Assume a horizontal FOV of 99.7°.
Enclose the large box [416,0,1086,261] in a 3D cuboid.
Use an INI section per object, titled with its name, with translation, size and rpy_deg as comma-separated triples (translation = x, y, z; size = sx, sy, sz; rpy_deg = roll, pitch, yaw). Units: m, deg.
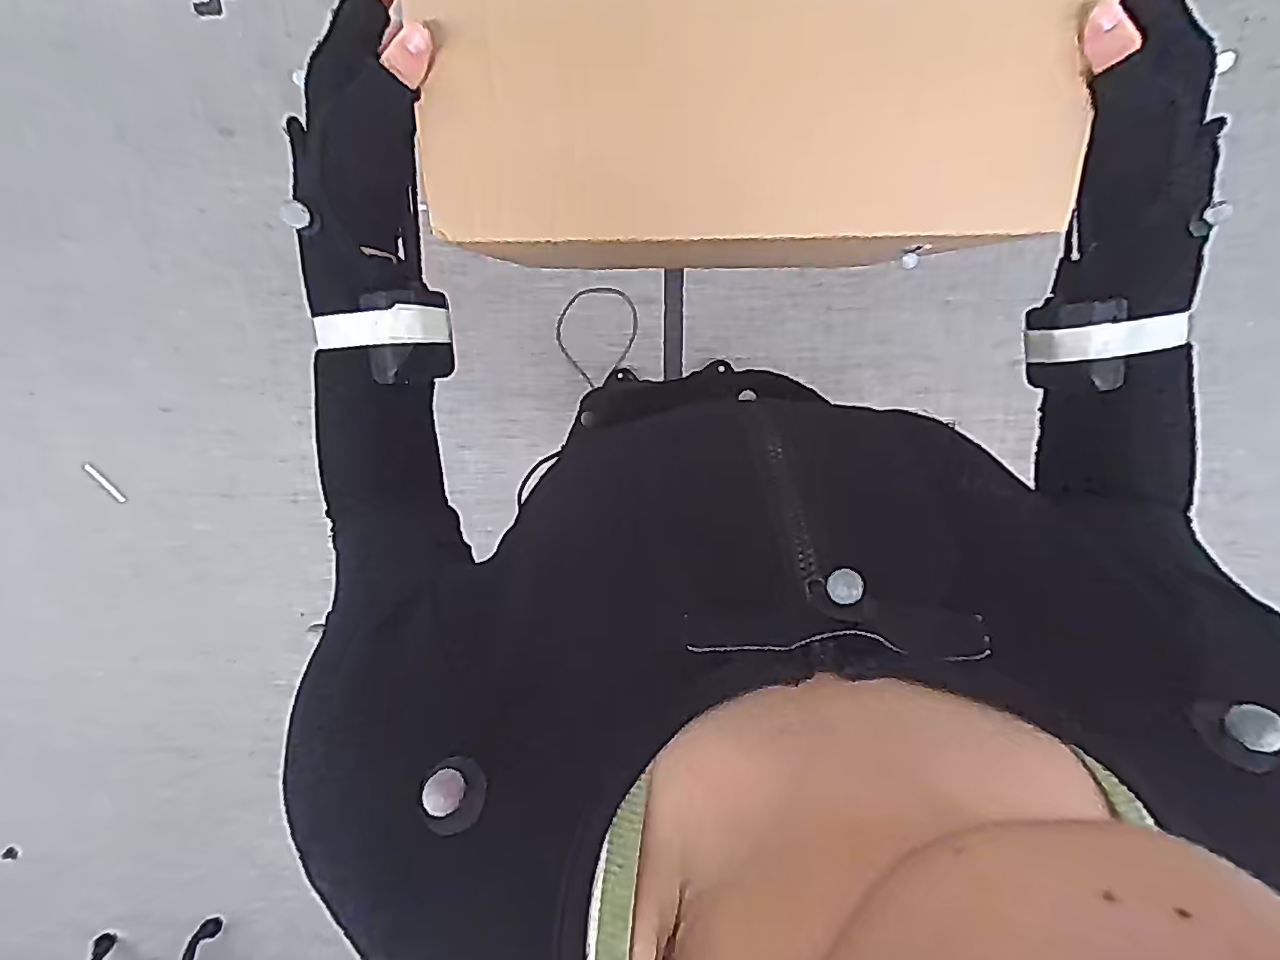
[large box]
translation = 0.066, -0.357, 0.449
size = 0.408, 0.320, 0.320
rpy_deg = -1, 108, 0
